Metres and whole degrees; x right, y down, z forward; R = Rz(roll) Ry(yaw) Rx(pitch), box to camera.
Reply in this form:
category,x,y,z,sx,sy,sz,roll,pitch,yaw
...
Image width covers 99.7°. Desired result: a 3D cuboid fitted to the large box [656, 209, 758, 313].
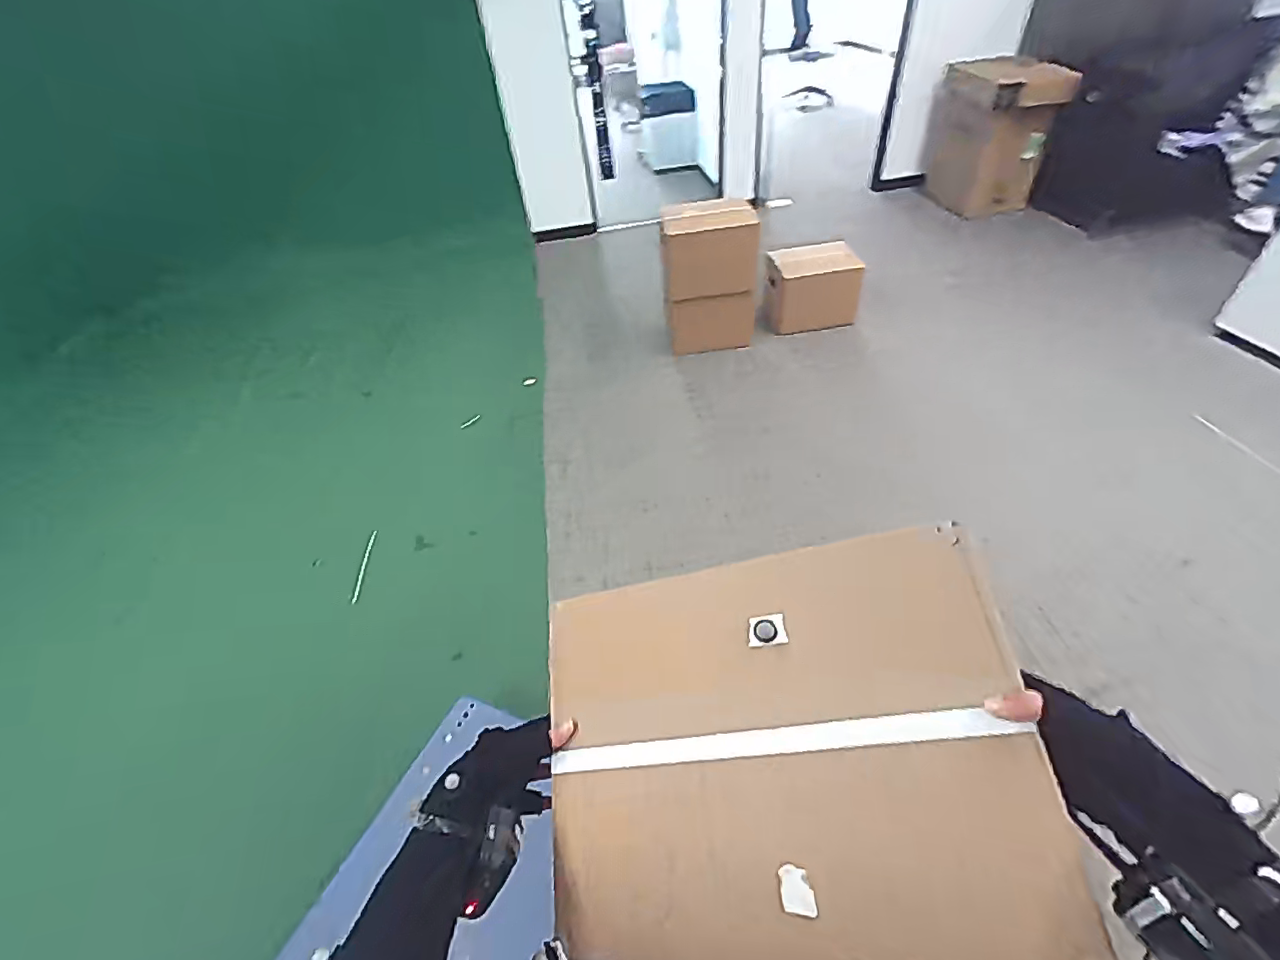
category,x,y,z,sx,sy,sz,roll,pitch,yaw
large box,0.303,-1.010,2.493,0.408,0.320,0.320,-9,46,0
